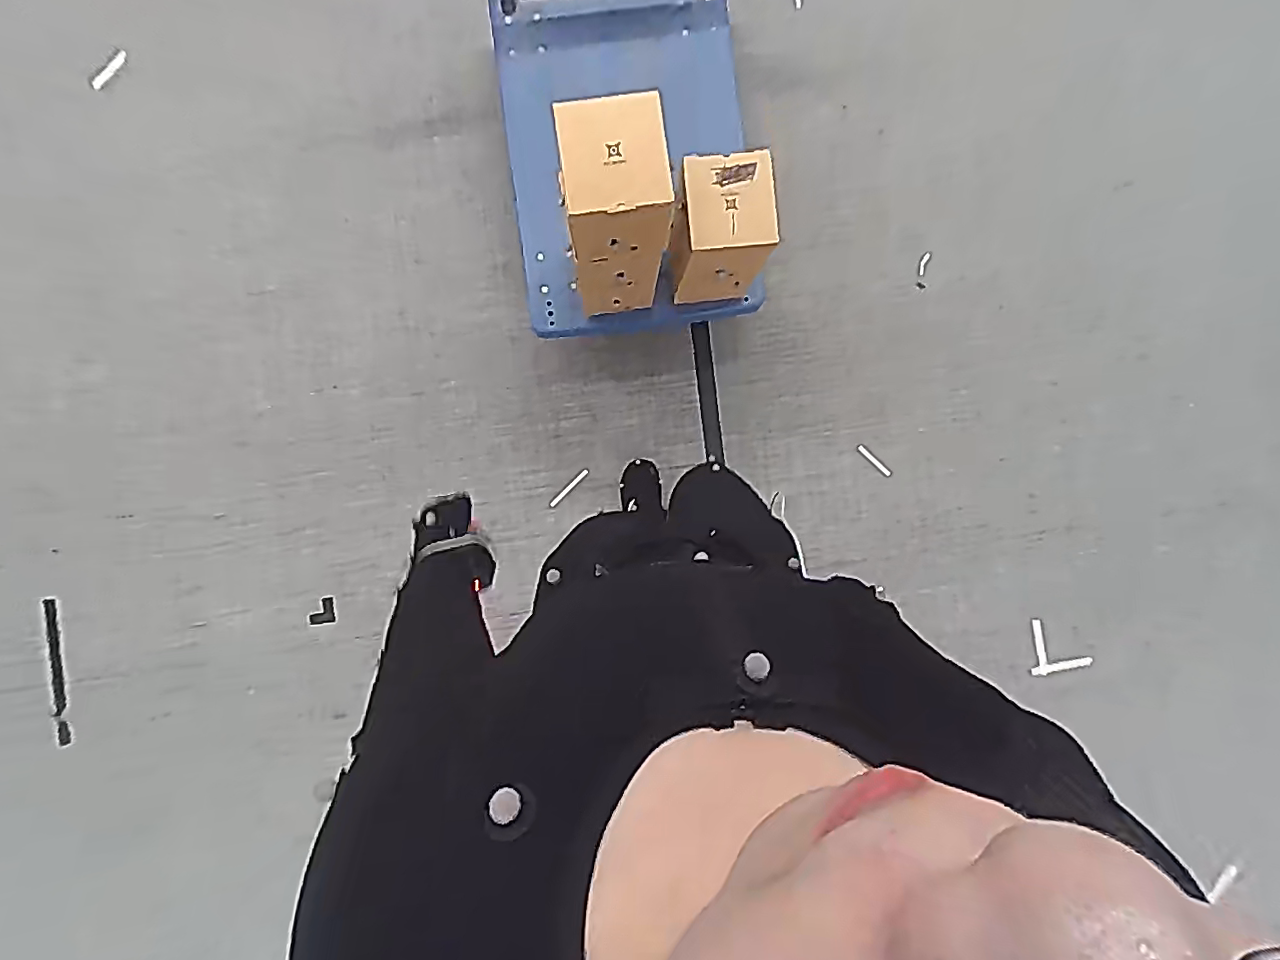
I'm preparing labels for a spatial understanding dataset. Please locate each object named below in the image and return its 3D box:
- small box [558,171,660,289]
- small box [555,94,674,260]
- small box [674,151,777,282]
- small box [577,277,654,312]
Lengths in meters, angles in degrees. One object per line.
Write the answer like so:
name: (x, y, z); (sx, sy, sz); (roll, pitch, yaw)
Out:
small box: (-0.058, -0.491, 1.066); (0.168, 0.176, 0.179); (-11, 91, -2)
small box: (-0.043, -0.496, 0.904); (0.168, 0.176, 0.179); (-9, 91, -2)
small box: (0.162, -0.515, 1.074); (0.168, 0.176, 0.179); (-6, 91, -2)
small box: (-0.063, -0.494, 1.231); (0.168, 0.176, 0.179); (-9, 90, -3)
